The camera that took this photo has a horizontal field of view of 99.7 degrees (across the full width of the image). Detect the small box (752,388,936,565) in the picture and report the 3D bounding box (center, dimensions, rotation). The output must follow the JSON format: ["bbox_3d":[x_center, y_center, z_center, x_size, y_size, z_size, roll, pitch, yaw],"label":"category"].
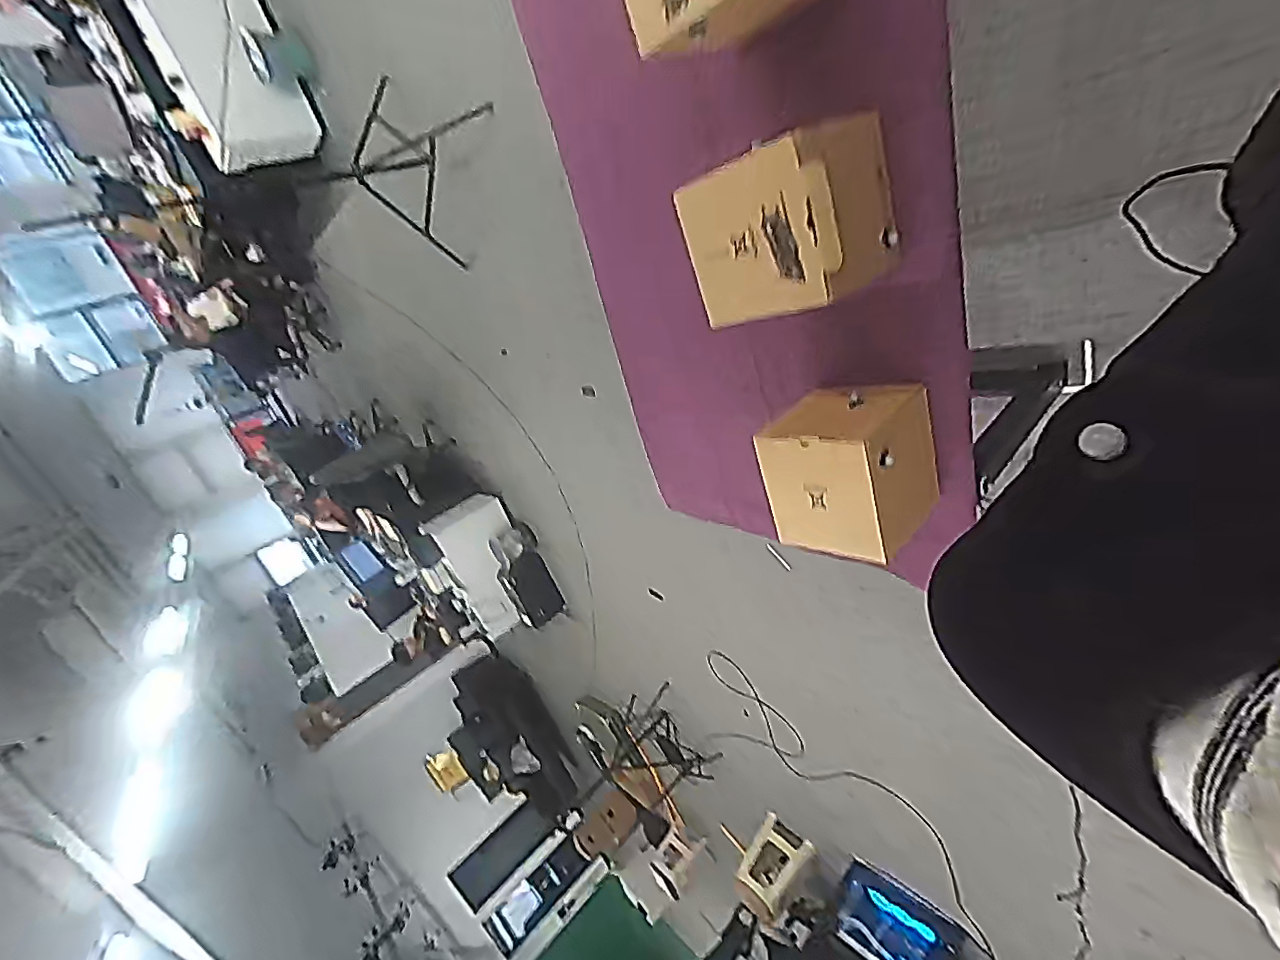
[{"bbox_3d":[0.290,-0.013,0.753,0.168,0.176,0.179,7,124,51],"label":"small box"}]

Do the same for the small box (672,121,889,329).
[{"bbox_3d":[0.174,-0.297,0.643,0.179,0.176,0.168,7,124,51],"label":"small box"}]
